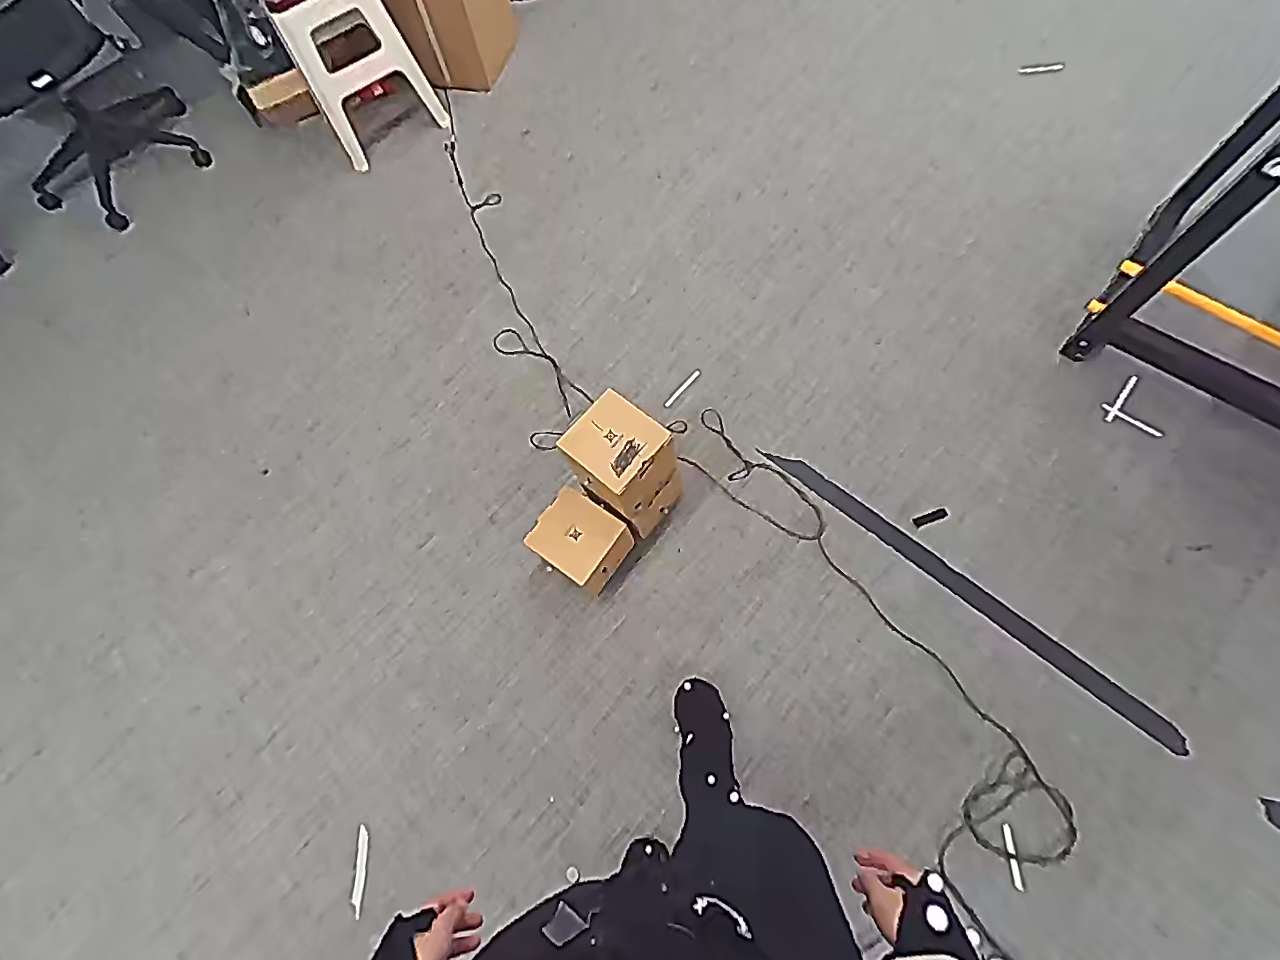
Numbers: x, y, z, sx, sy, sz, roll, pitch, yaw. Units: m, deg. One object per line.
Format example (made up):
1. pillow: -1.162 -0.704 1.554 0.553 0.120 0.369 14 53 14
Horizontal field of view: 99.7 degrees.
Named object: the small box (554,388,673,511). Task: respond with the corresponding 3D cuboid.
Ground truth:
1. small box: -0.046 -0.054 1.137 0.179 0.176 0.168 38 78 19
